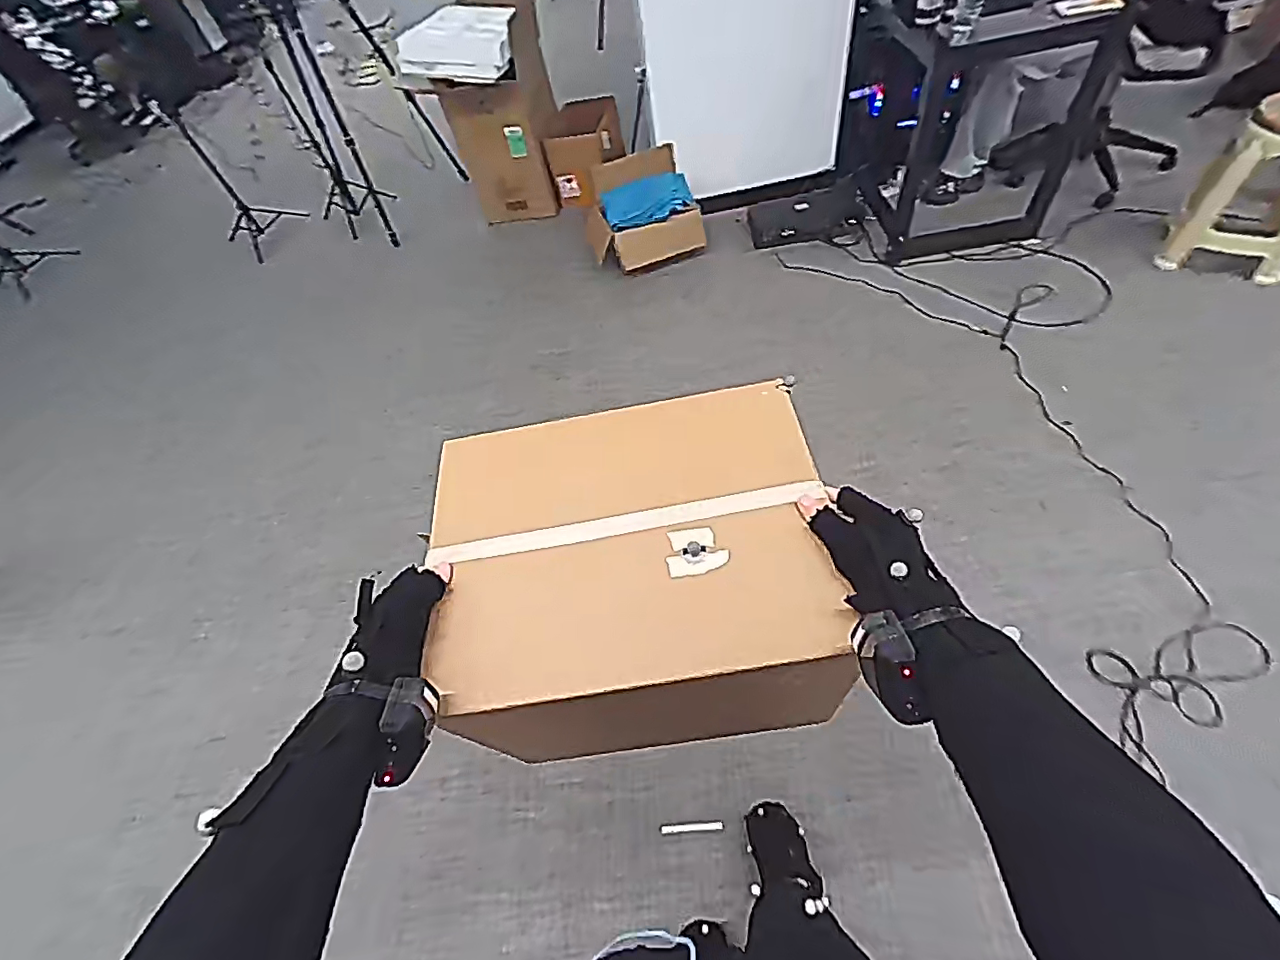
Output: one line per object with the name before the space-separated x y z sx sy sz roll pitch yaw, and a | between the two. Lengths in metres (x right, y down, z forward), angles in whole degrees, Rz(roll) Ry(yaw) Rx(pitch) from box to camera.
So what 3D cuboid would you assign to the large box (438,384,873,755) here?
large box | 0.011 0.128 0.683 0.408 0.320 0.320 -10 56 2
